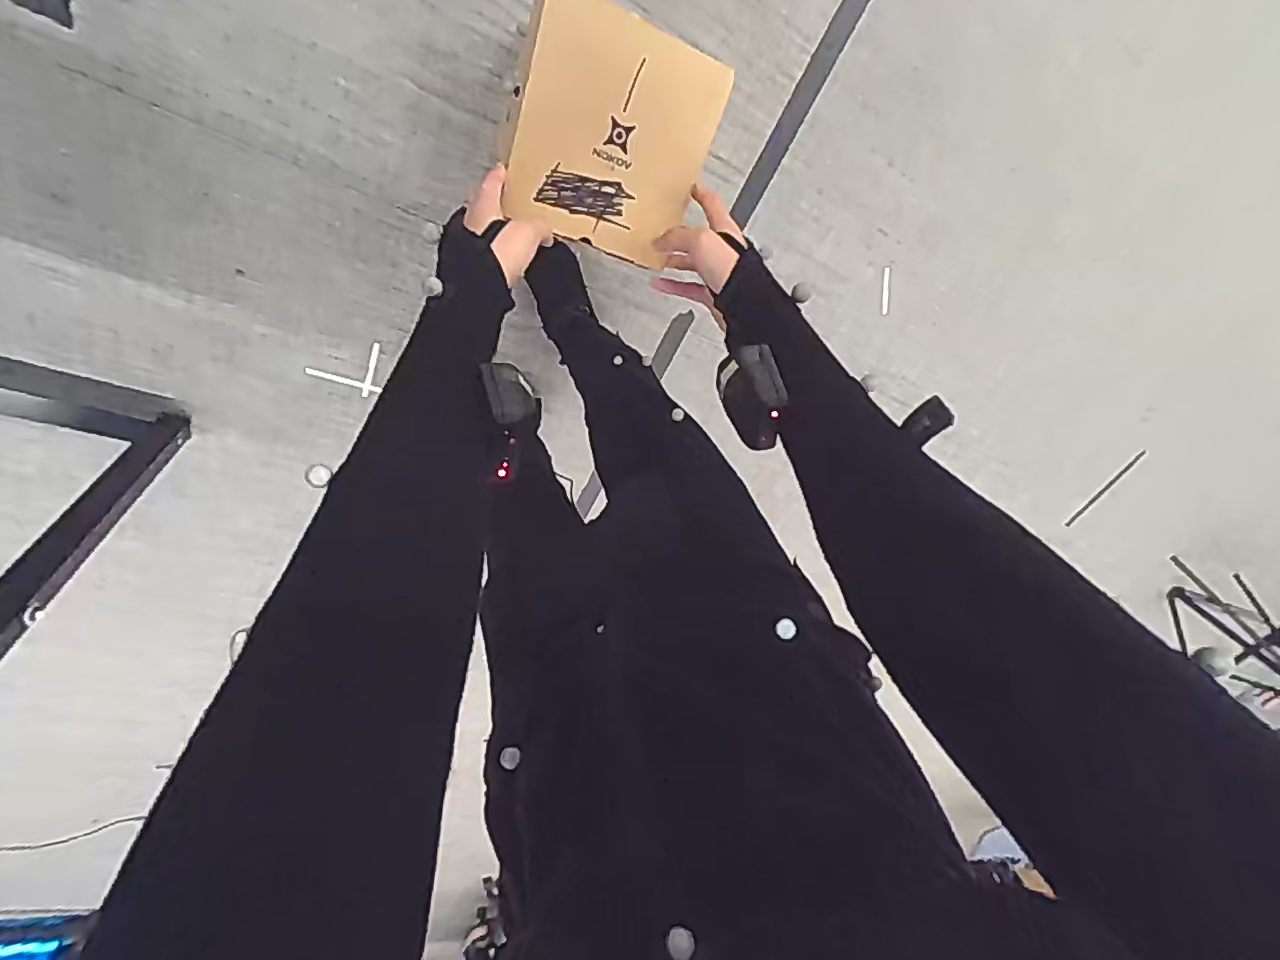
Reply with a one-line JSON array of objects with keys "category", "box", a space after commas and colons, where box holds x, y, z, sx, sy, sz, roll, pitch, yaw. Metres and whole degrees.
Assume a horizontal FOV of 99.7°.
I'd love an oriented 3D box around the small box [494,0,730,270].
[{"category": "small box", "box": [-0.042, -0.337, 0.529, 0.168, 0.176, 0.179, 9, 122, -22]}]
